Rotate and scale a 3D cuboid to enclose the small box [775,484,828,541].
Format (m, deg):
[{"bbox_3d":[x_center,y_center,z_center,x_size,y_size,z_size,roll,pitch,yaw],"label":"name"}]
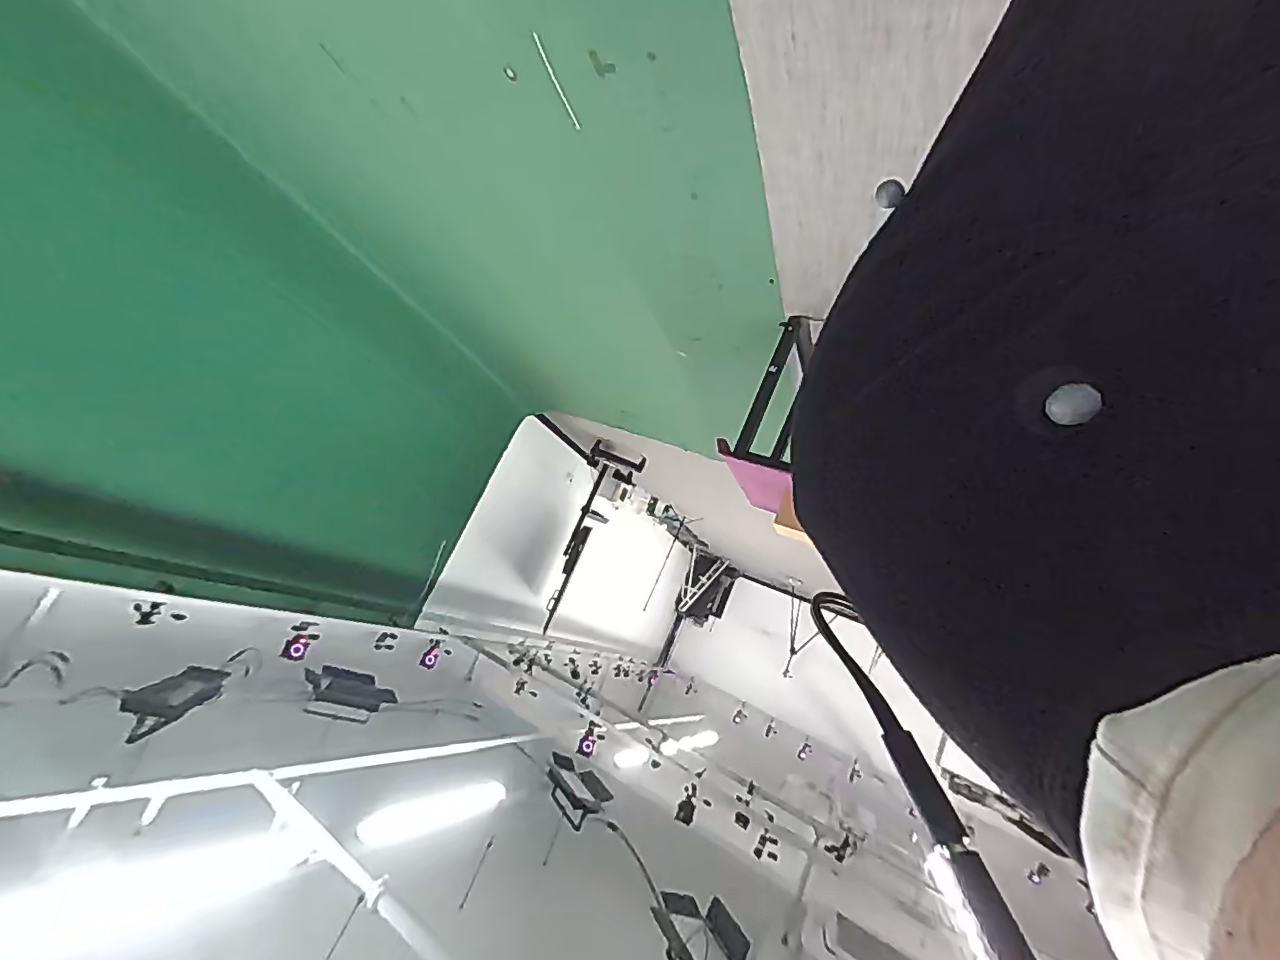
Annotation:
[{"bbox_3d":[0.681,0.135,2.263,0.168,0.176,0.179,18,168,25],"label":"small box"}]
